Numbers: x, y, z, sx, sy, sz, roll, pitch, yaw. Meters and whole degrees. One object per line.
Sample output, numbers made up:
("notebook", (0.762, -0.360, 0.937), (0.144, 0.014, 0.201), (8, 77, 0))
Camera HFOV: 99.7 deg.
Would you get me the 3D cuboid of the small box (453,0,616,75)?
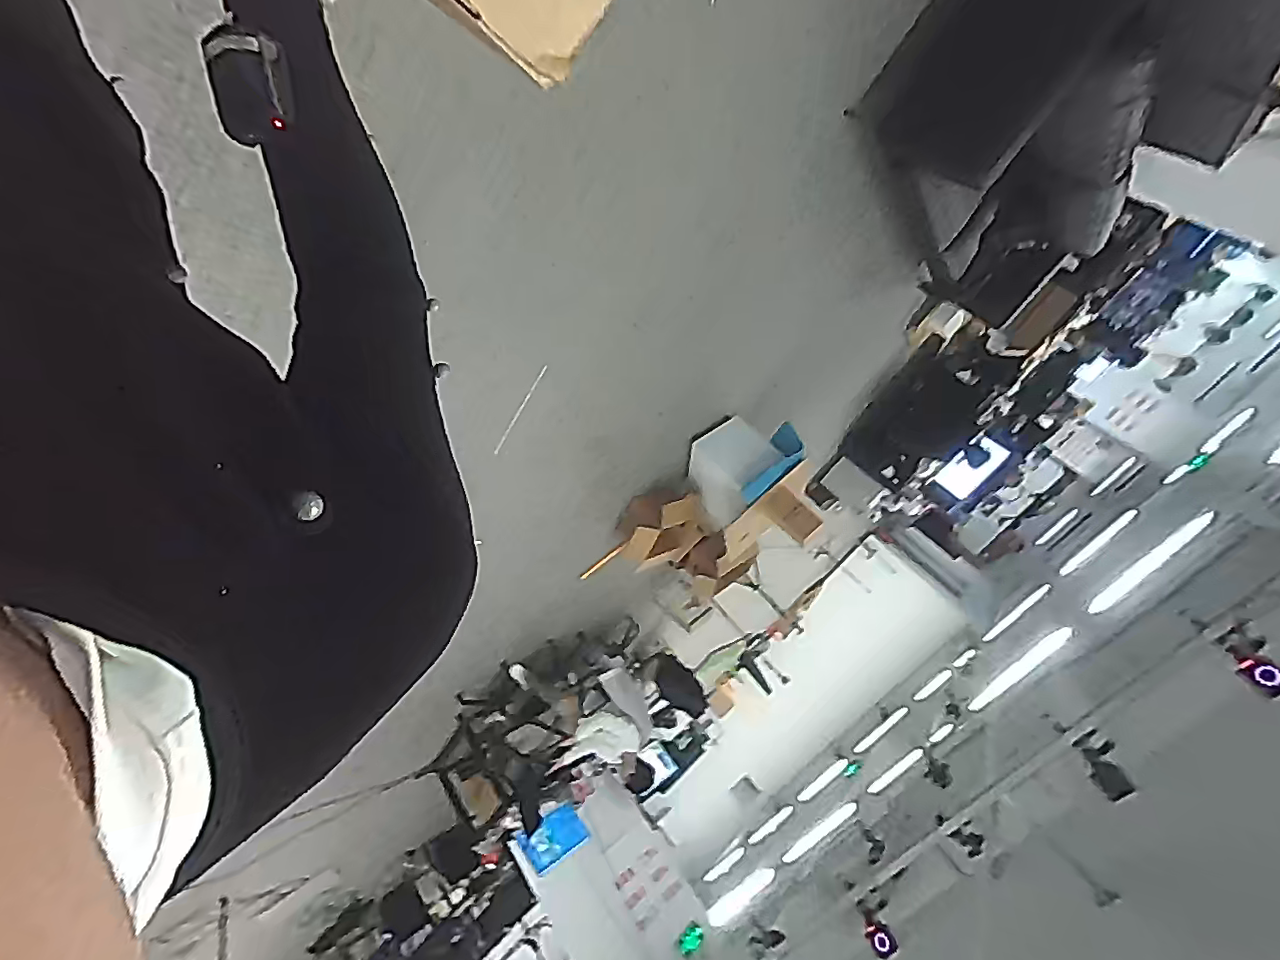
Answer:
("small box", (-0.062, -0.251, 0.110), (0.179, 0.176, 0.168), (-49, 154, 20))
